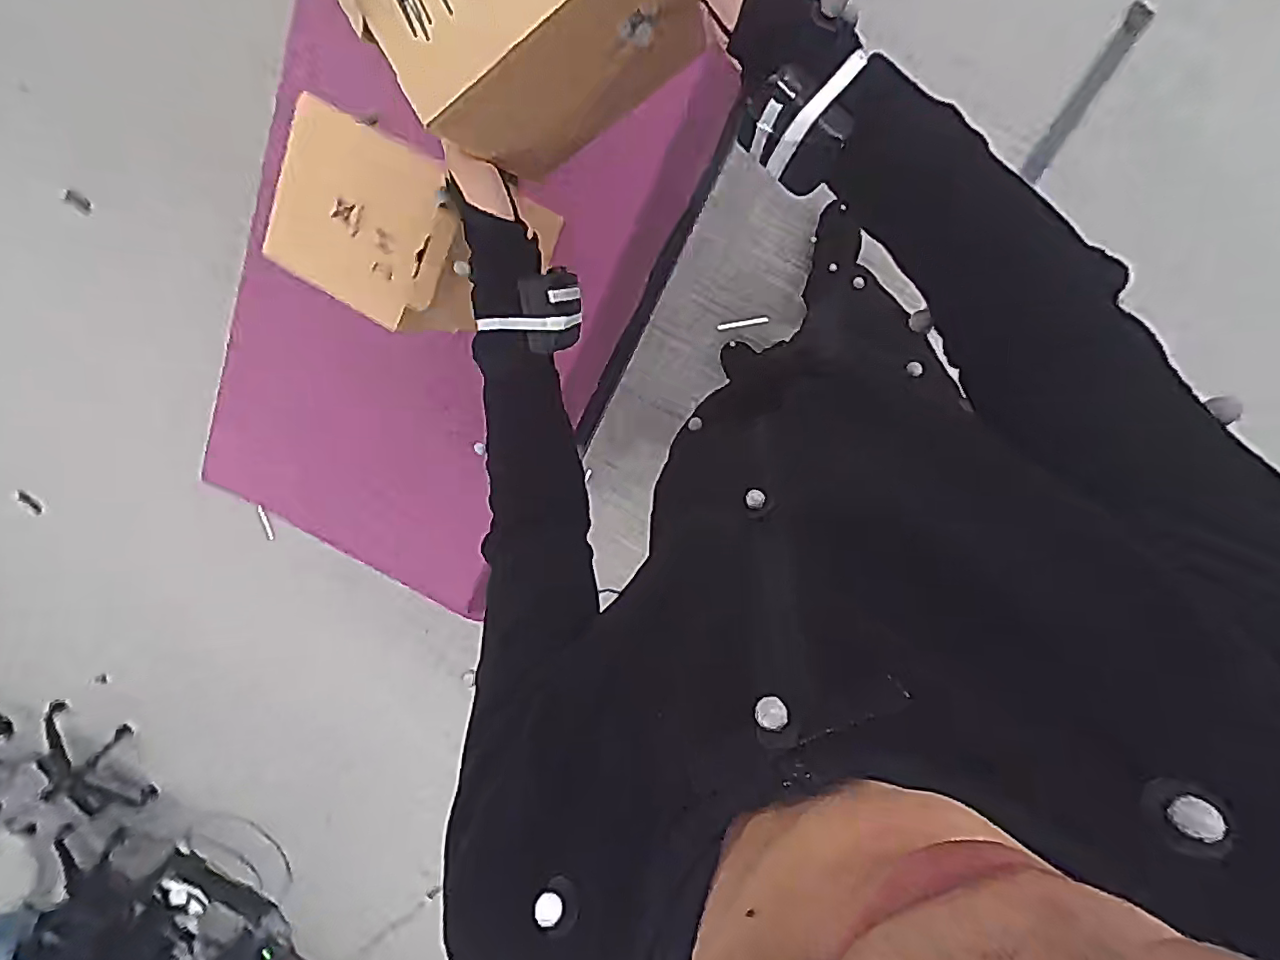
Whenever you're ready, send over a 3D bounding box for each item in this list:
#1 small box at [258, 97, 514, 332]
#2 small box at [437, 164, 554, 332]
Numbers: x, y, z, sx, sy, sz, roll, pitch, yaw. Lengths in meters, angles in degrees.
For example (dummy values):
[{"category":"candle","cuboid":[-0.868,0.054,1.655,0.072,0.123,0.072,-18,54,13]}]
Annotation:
[{"category":"small box","cuboid":[-0.277,-0.282,0.616,0.179,0.176,0.168,30,110,2]},{"category":"small box","cuboid":[-0.241,-0.326,0.771,0.168,0.176,0.179,24,109,4]}]
